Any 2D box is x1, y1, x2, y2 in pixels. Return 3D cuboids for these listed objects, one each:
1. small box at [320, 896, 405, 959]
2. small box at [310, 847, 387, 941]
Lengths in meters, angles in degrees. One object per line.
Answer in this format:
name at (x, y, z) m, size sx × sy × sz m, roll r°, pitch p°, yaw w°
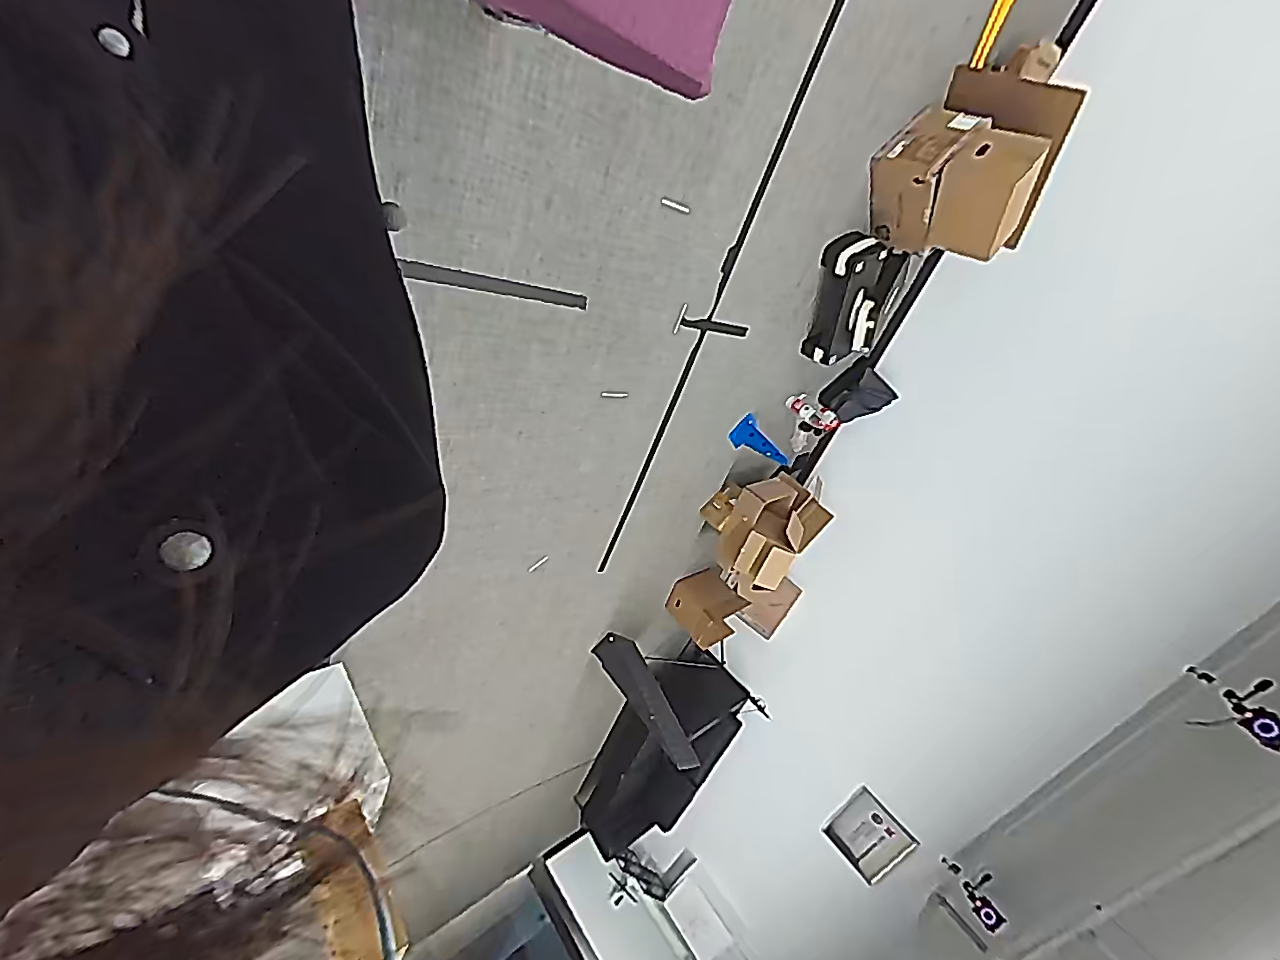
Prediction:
small box at (-0.867, 1.454, 1.684) m, size 0.179 × 0.176 × 0.168 m, roll -5°, pitch 131°, yaw -47°
small box at (-0.963, 1.360, 1.777) m, size 0.168 × 0.176 × 0.179 m, roll -5°, pitch 130°, yaw -48°
